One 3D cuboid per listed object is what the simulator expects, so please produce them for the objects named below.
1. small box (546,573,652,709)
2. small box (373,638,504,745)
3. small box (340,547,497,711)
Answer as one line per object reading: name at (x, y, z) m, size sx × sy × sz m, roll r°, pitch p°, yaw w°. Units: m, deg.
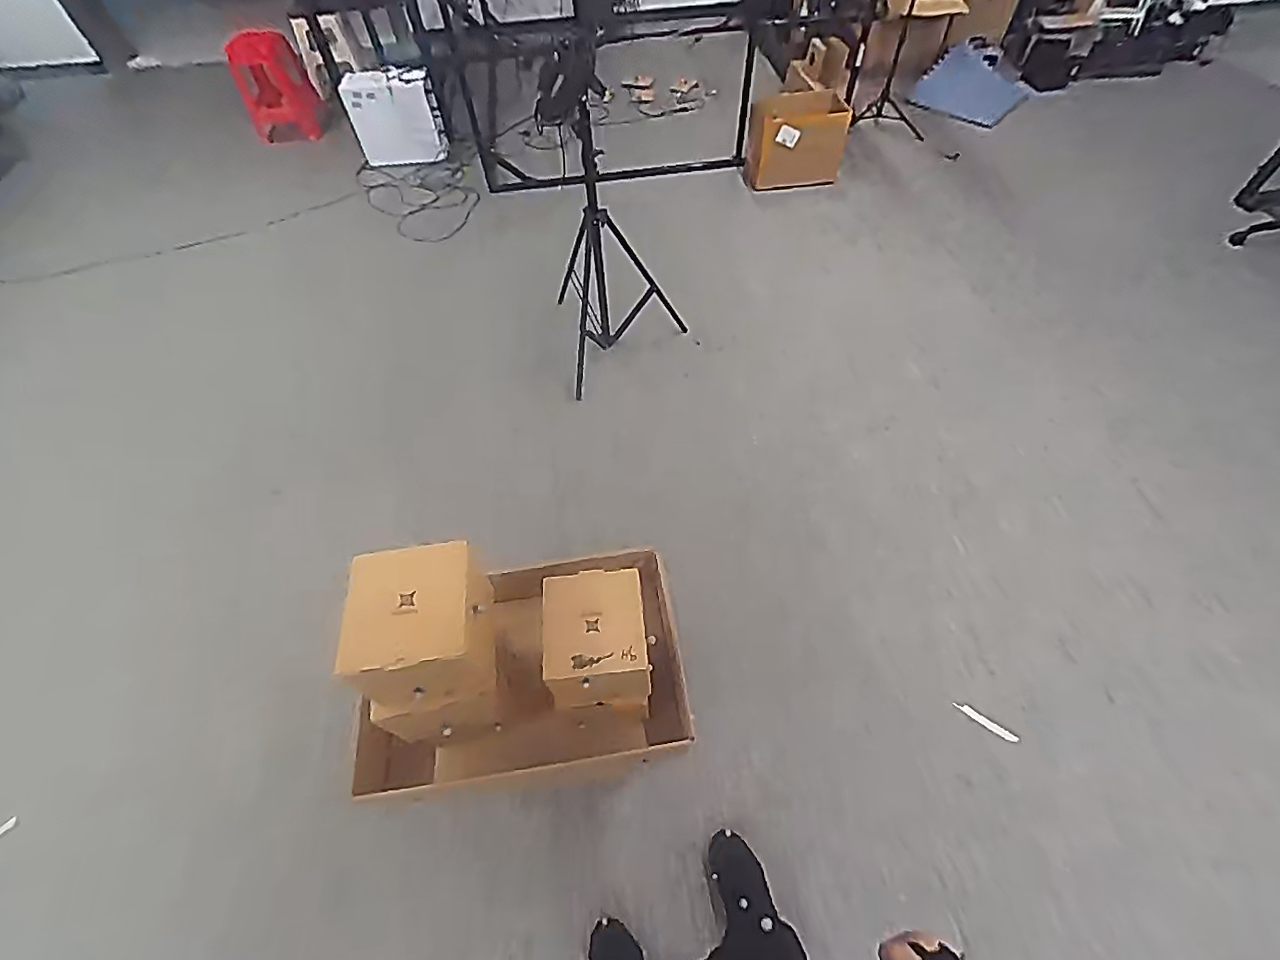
small box at (-0.068, 0.283, 0.944) m, size 0.168 × 0.176 × 0.179 m, roll -6°, pitch 54°, yaw -1°
small box at (-0.336, 0.332, 0.927) m, size 0.168 × 0.176 × 0.179 m, roll -11°, pitch 56°, yaw -7°
small box at (-0.314, 0.223, 0.804) m, size 0.168 × 0.176 × 0.179 m, roll -8°, pitch 56°, yaw -6°
